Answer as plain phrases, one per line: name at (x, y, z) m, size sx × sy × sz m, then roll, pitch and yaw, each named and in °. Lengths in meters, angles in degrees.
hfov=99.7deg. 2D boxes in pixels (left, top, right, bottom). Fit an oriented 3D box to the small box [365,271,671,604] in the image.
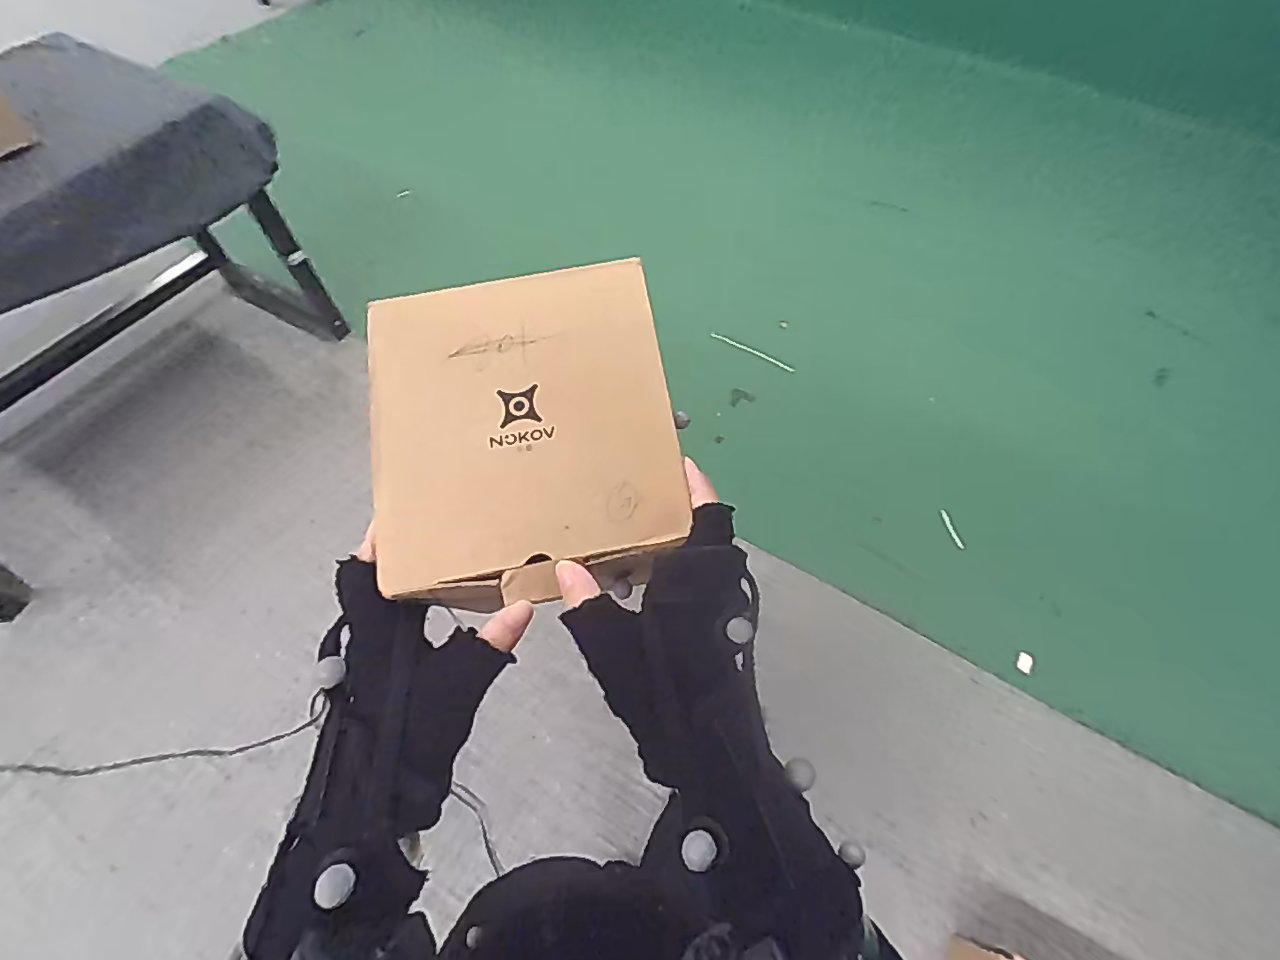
small box at (-0.072, -0.012, 0.386) m, size 0.168 × 0.176 × 0.179 m, roll -10°, pitch 72°, yaw -2°
